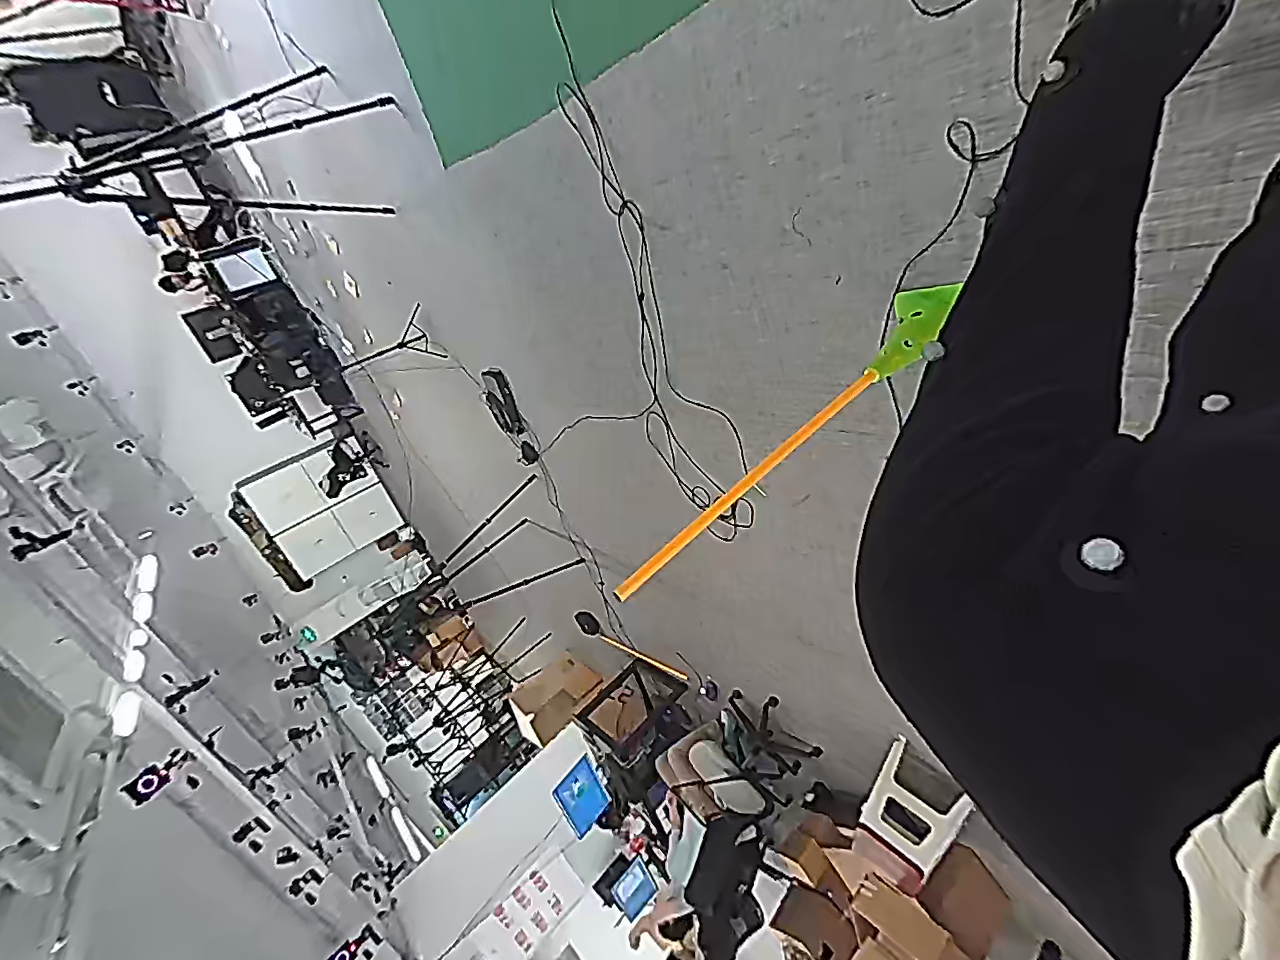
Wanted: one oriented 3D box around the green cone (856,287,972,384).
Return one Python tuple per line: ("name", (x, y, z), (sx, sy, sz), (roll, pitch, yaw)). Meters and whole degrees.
("green cone", (0.691, -0.350, 1.433), (0.202, 0.368, 0.200), (11, 128, 52))
